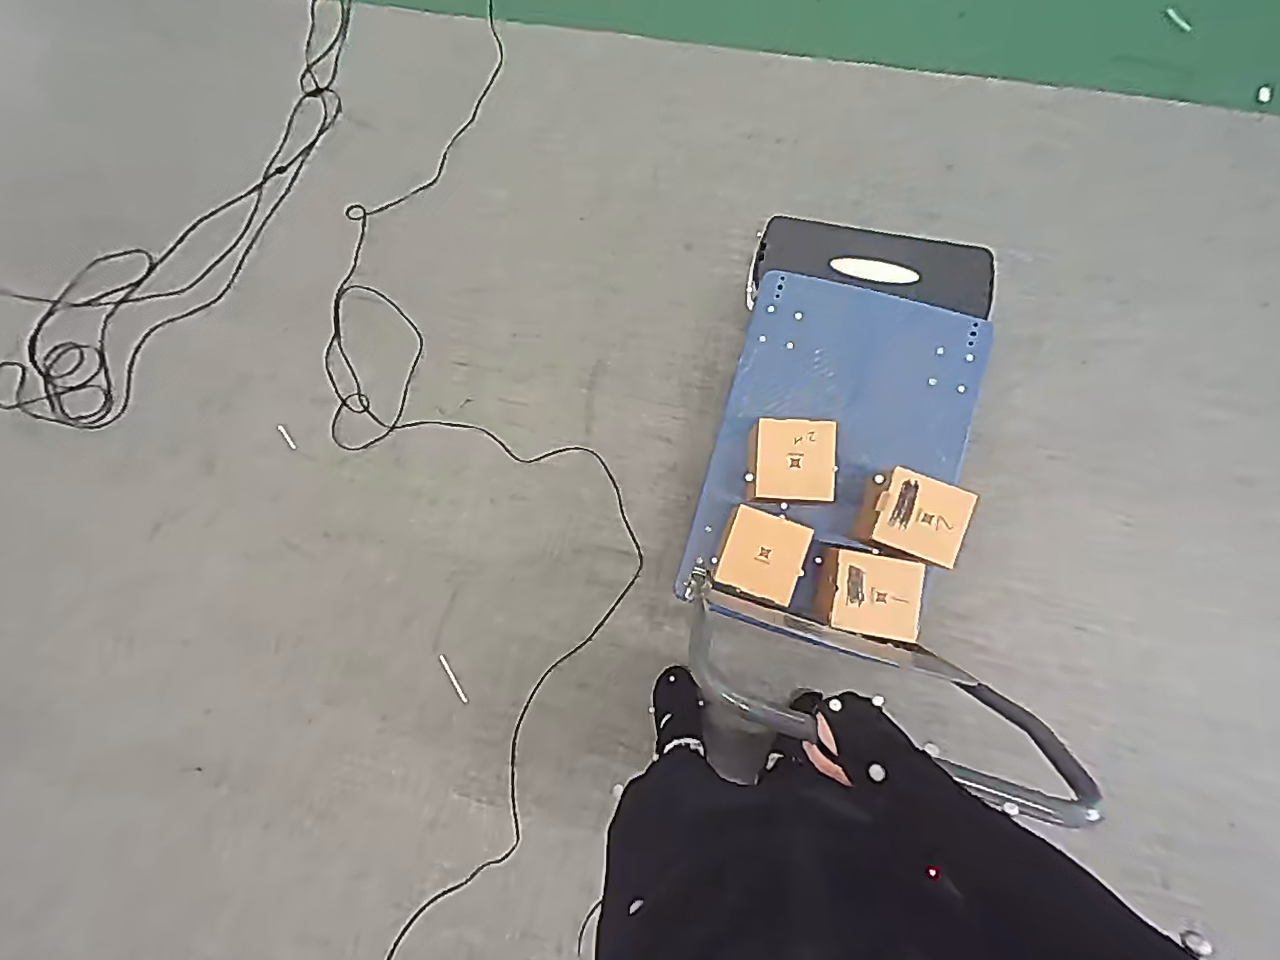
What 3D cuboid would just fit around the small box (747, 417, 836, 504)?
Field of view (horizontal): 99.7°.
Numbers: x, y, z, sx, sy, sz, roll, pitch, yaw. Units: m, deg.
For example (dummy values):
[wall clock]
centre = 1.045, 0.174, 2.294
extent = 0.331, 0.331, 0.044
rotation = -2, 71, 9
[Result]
[small box]
centre = 0.339, -0.039, 1.234
extent = 0.168, 0.176, 0.179
rotation = 4, 84, 4
